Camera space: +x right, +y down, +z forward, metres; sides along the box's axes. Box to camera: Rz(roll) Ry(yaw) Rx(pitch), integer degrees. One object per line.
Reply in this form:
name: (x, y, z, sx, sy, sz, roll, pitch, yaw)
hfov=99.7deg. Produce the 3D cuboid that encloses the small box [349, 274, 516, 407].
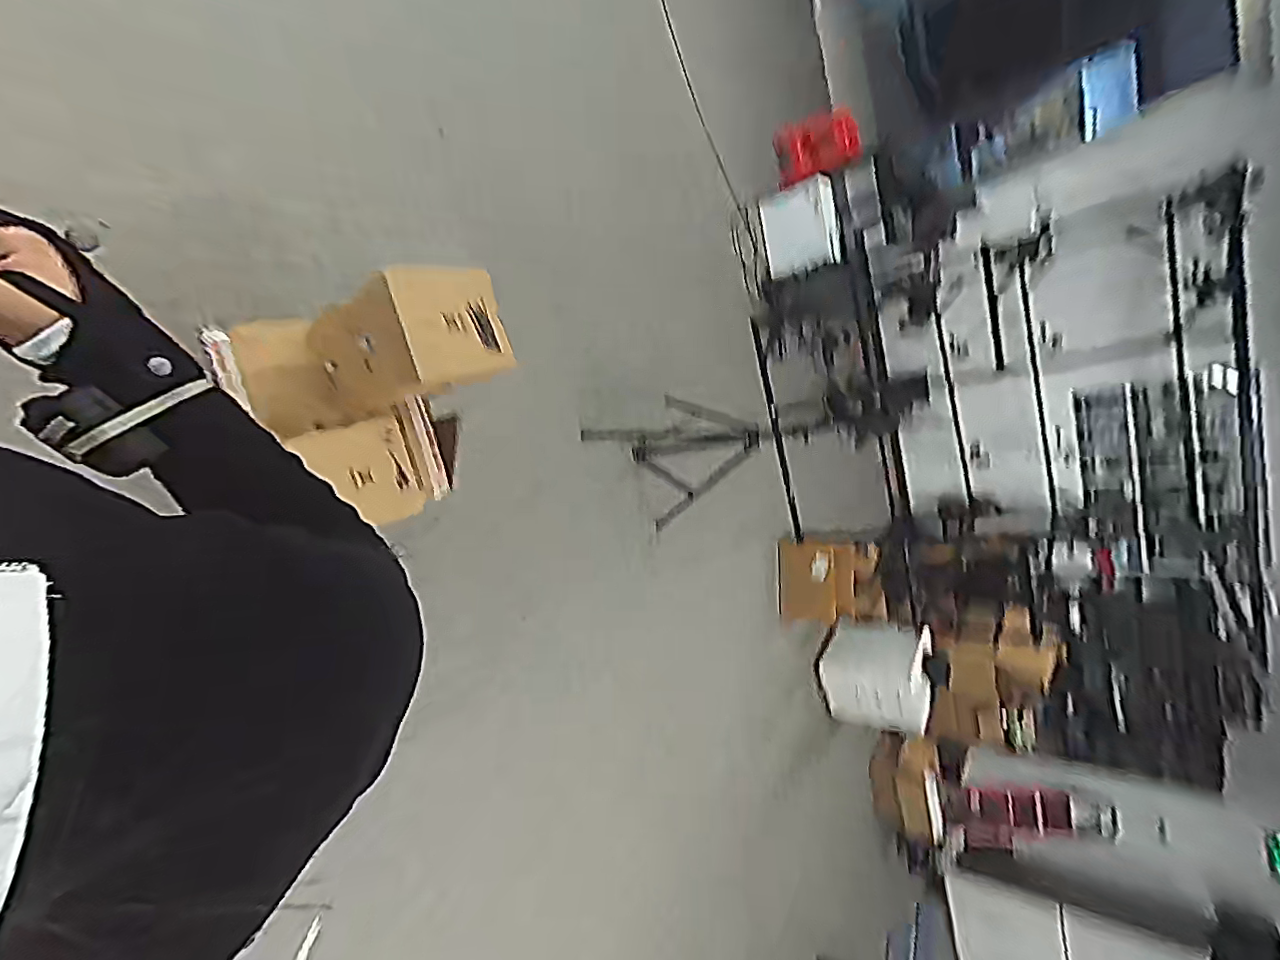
small box: (-0.338, -0.225, 0.883, 0.179, 0.176, 0.168, -23, 101, -45)

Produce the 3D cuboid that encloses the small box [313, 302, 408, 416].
small box: (-0.460, -0.226, 0.995, 0.179, 0.176, 0.168, -28, 105, -45)

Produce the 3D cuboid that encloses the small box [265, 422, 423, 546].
small box: (-0.506, 0.007, 0.917, 0.179, 0.176, 0.168, -23, 104, -46)
